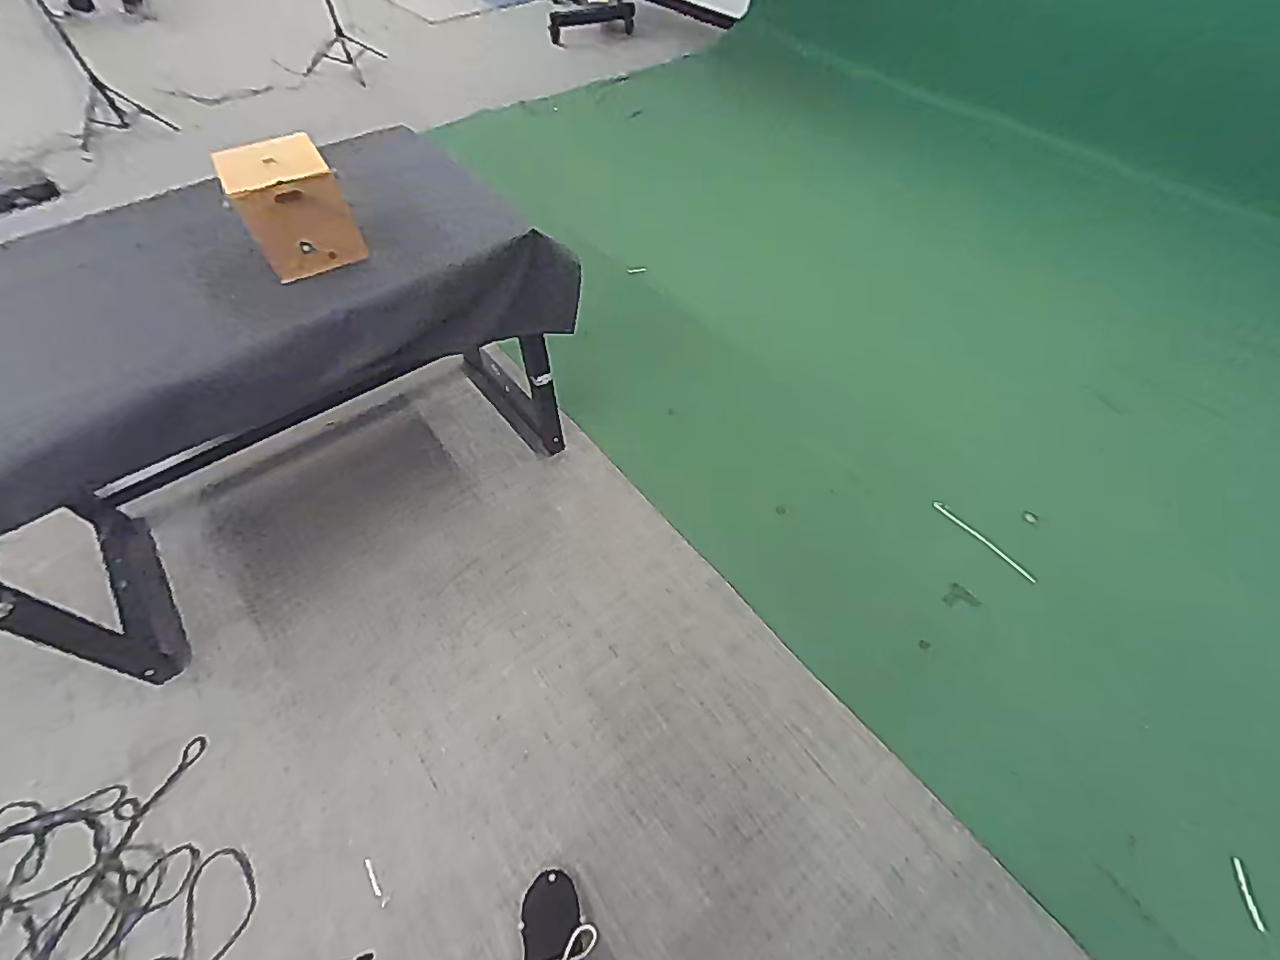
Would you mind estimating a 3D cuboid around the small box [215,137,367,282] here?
[{"bbox_3d":[-0.643,-0.502,1.008,0.168,0.176,0.179,-28,60,-19],"label":"small box"}]
